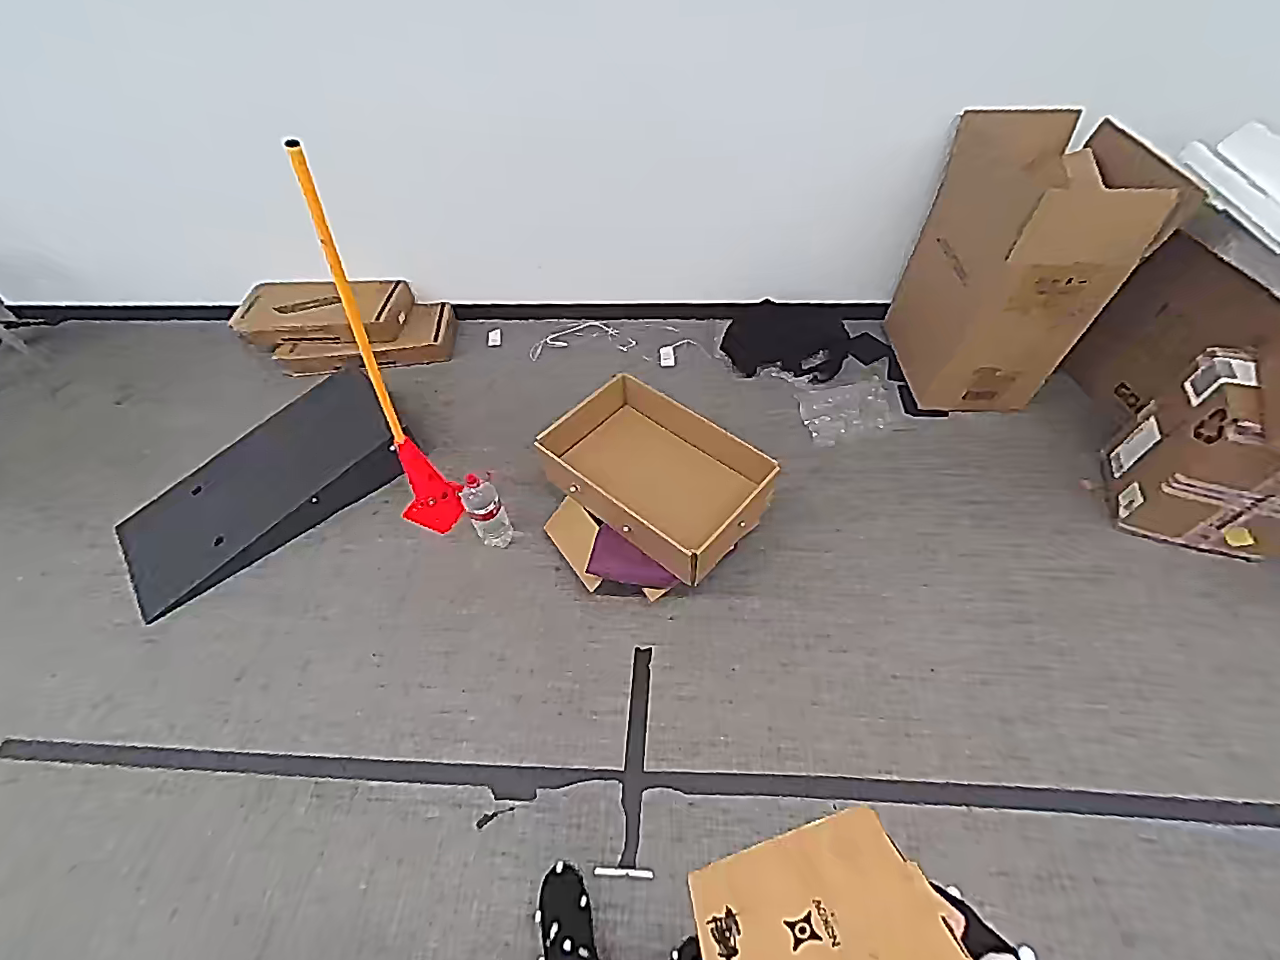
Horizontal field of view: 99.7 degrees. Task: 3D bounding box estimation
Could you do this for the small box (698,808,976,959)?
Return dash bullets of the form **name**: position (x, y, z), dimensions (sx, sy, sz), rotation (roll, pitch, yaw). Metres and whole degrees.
- **small box**: position (0.164, 0.412, 0.423), dimensions (0.179, 0.168, 0.176), rotation (-20, 98, -1)
